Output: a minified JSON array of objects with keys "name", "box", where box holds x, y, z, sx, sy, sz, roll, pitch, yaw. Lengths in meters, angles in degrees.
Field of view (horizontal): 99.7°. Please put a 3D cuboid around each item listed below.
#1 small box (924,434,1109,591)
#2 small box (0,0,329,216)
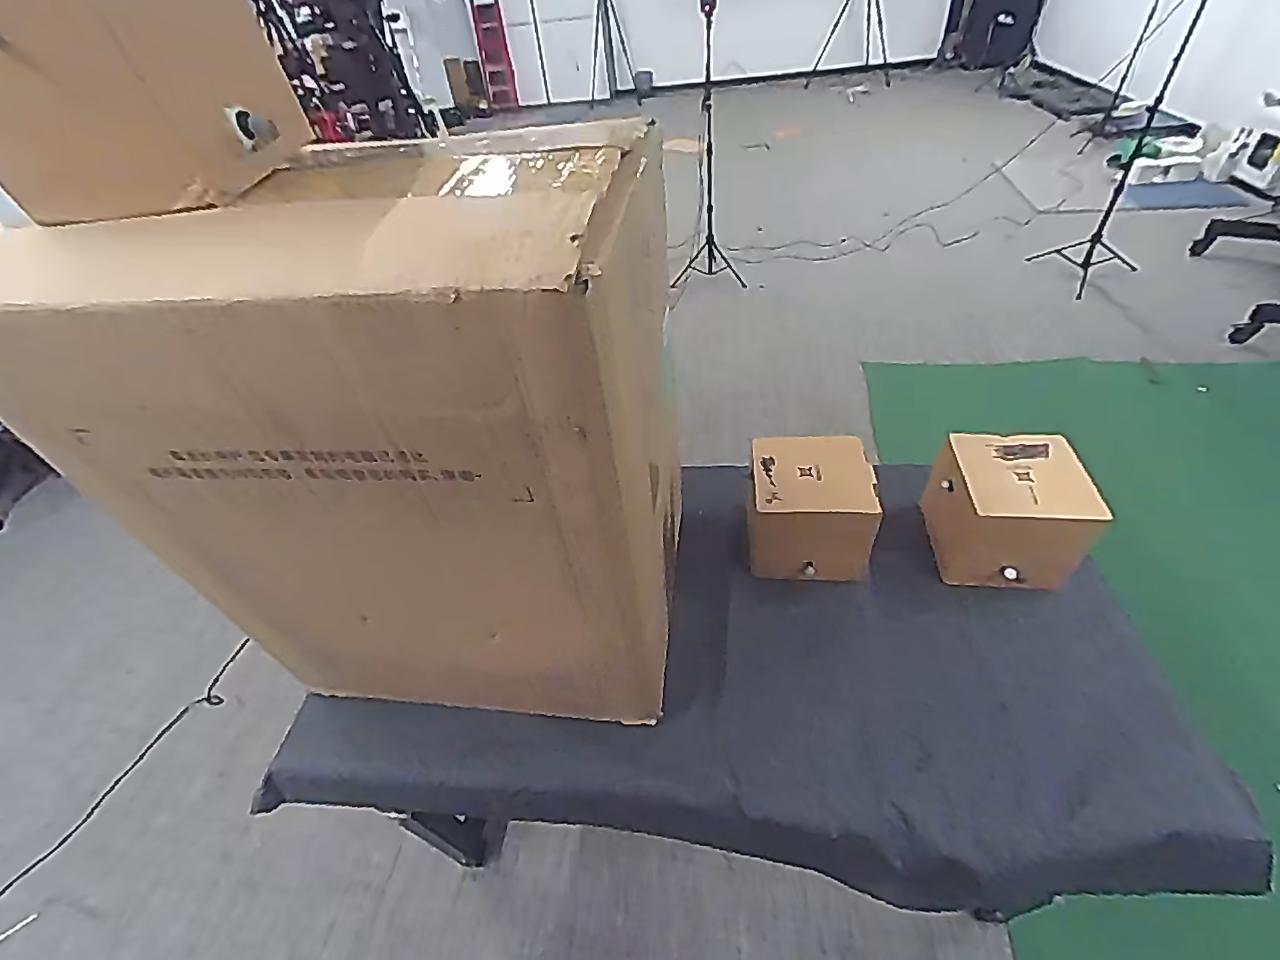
[{"name":"small box","box":[0.566,0.049,0.847,0.168,0.176,0.179,2,46,10]},{"name":"small box","box":[-0.402,-0.331,0.437,0.179,0.176,0.168,-2,50,5]}]
